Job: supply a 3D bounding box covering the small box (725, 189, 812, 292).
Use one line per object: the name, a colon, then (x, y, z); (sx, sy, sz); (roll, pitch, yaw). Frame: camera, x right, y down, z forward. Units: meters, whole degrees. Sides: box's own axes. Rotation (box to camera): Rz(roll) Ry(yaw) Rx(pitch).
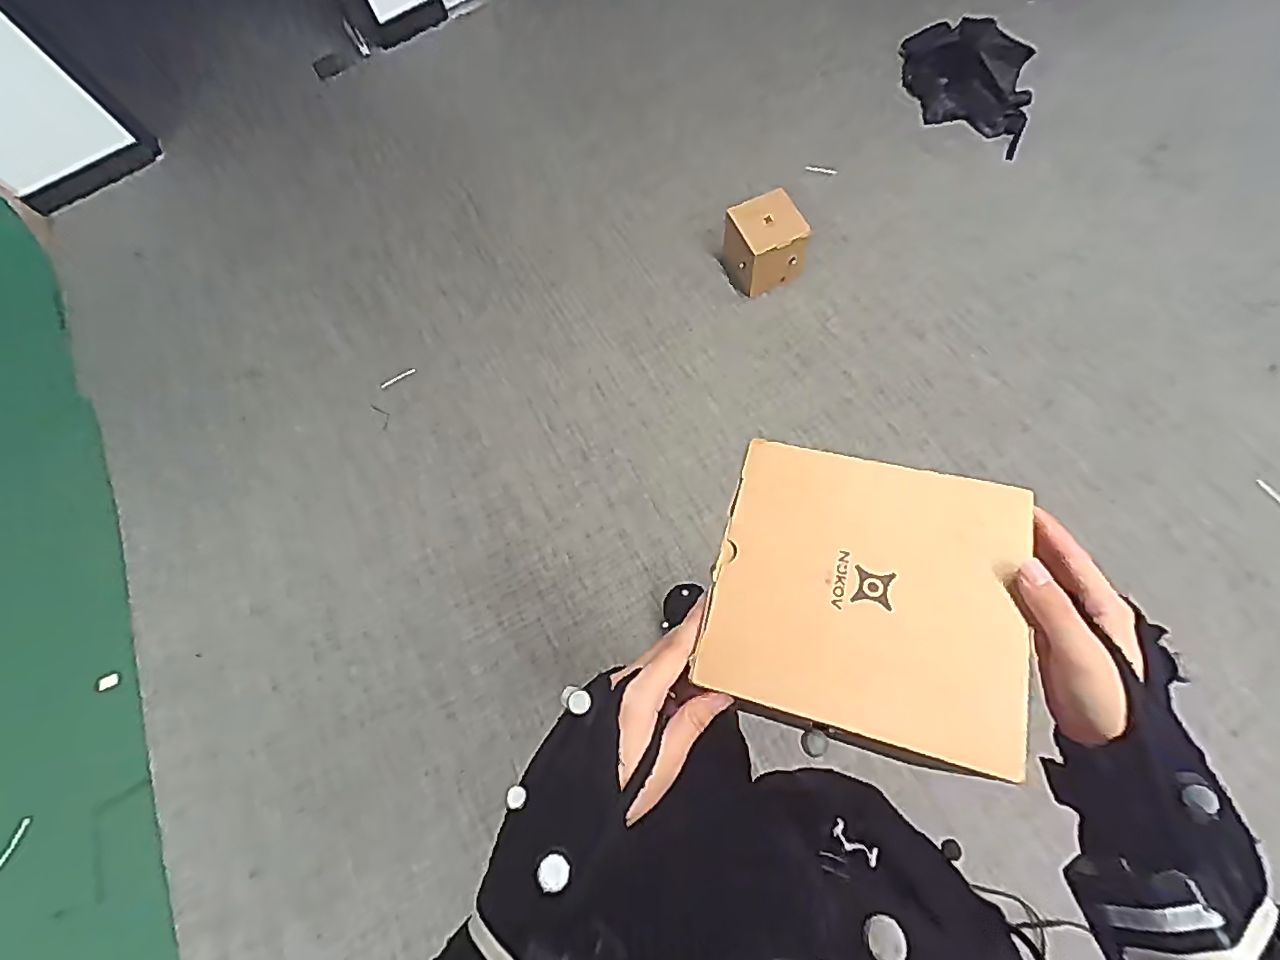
small box: (0.344, -0.643, 1.476); (0.168, 0.176, 0.179); (-23, 68, -3)
